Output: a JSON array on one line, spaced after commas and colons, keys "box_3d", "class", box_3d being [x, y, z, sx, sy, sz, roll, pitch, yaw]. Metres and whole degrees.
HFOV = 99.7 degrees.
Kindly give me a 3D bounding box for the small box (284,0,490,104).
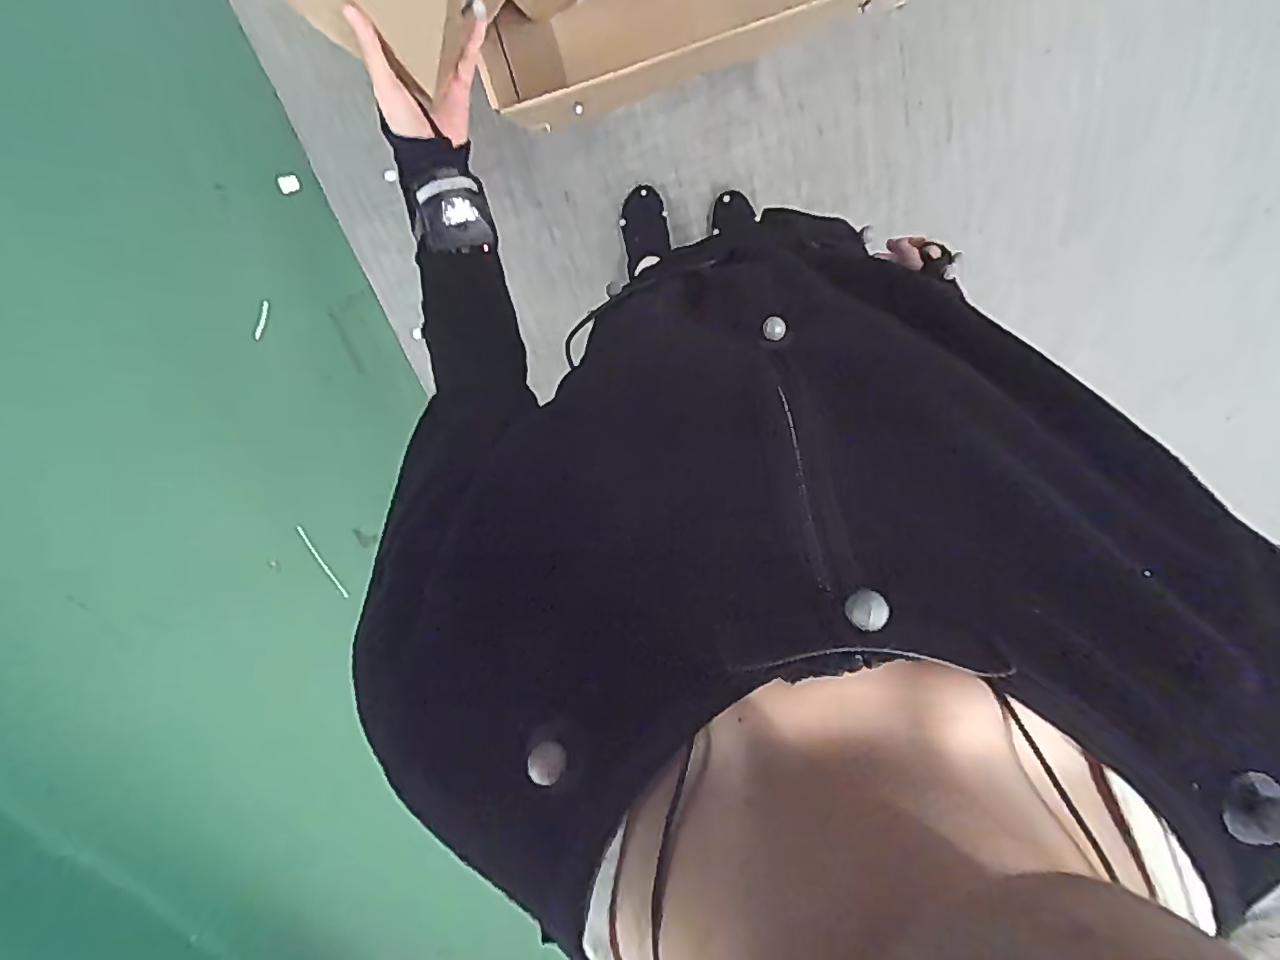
[{"box_3d": [-0.176, -0.425, 0.367, 0.168, 0.179, 0.176, 28, 77, -23], "class": "small box"}]
